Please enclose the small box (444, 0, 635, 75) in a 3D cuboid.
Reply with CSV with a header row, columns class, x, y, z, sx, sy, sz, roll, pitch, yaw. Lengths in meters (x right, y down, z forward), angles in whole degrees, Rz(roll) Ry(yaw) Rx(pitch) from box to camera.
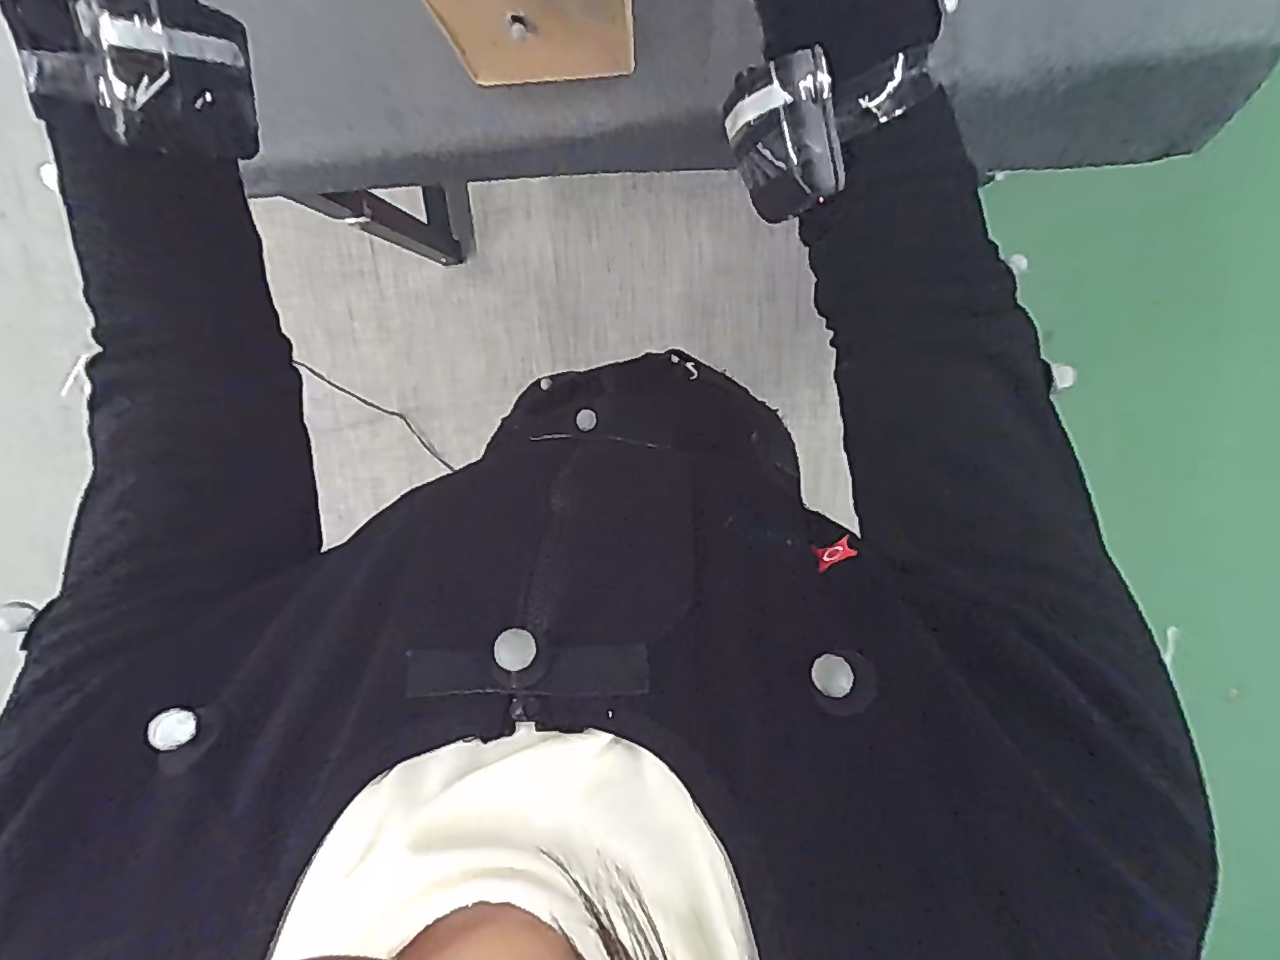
class,x,y,z,sx,sy,sz,roll,pitch,yaw
small box,-0.099,-0.515,0.505,0.179,0.176,0.168,-2,101,3
